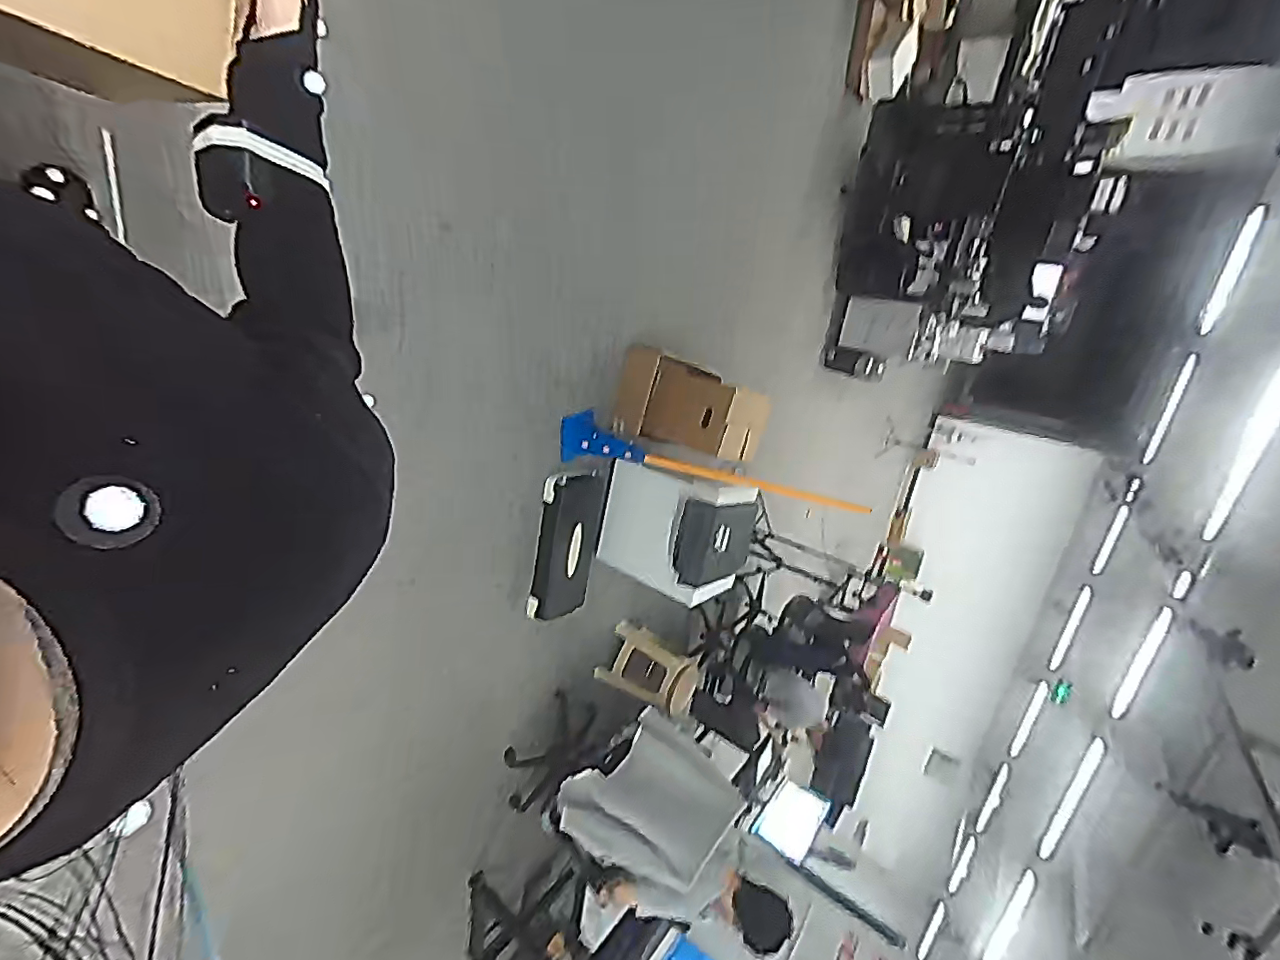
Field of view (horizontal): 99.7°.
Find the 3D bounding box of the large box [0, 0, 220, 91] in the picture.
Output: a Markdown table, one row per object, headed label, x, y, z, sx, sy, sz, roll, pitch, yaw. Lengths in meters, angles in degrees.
| label | x | y | z | sx | sy | sz | roll | pitch | yaw |
| --- | --- | --- | --- | --- | --- | --- | --- | --- | --- |
| large box | -0.537 | -0.486 | 0.315 | 0.408 | 0.320 | 0.320 | -9 | 117 | -53 |
